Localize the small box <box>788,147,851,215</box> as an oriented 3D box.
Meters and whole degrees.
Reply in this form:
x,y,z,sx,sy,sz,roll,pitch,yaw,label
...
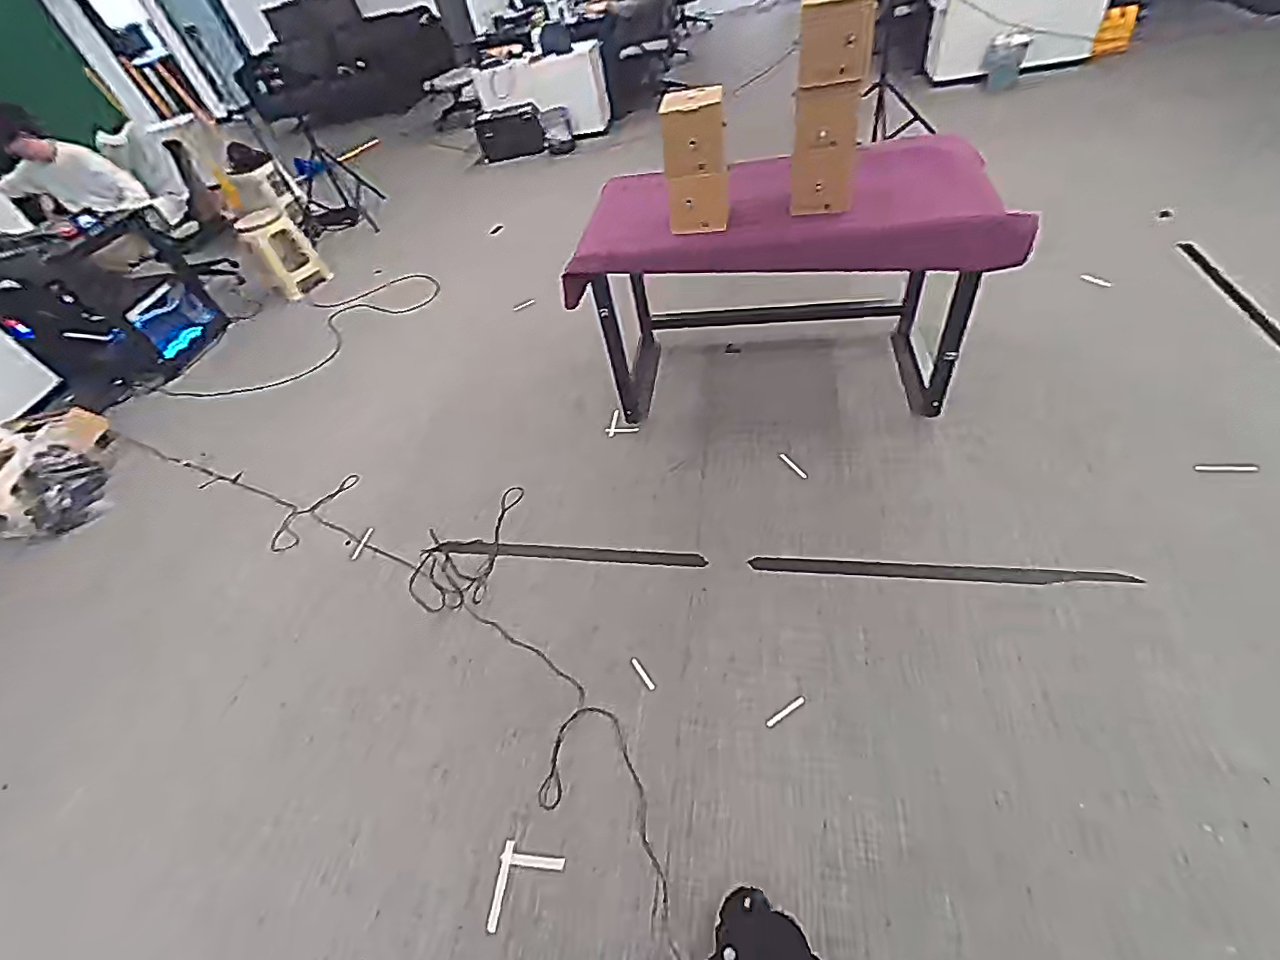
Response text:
x,y,z,sx,sy,sz,roll,pitch,yaw,label
0.530,-0.902,1.602,0.168,0.176,0.179,3,50,15,small box

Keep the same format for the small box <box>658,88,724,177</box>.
x,y,z,sx,sy,sz,roll,pitch,yaw,label
0.152,-0.981,1.537,0.168,0.176,0.179,0,49,12,small box

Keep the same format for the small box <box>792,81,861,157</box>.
x,y,z,sx,sy,sz,roll,pitch,yaw,label
0.506,-1.012,1.482,0.168,0.176,0.179,2,50,15,small box

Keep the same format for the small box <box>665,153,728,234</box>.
x,y,z,sx,sy,sz,roll,pitch,yaw,label
0.180,-0.868,1.653,0.168,0.176,0.179,1,48,14,small box

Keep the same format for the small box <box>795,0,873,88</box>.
x,y,z,sx,sy,sz,roll,pitch,yaw,label
0.477,-1.101,1.348,0.168,0.176,0.179,1,49,12,small box
